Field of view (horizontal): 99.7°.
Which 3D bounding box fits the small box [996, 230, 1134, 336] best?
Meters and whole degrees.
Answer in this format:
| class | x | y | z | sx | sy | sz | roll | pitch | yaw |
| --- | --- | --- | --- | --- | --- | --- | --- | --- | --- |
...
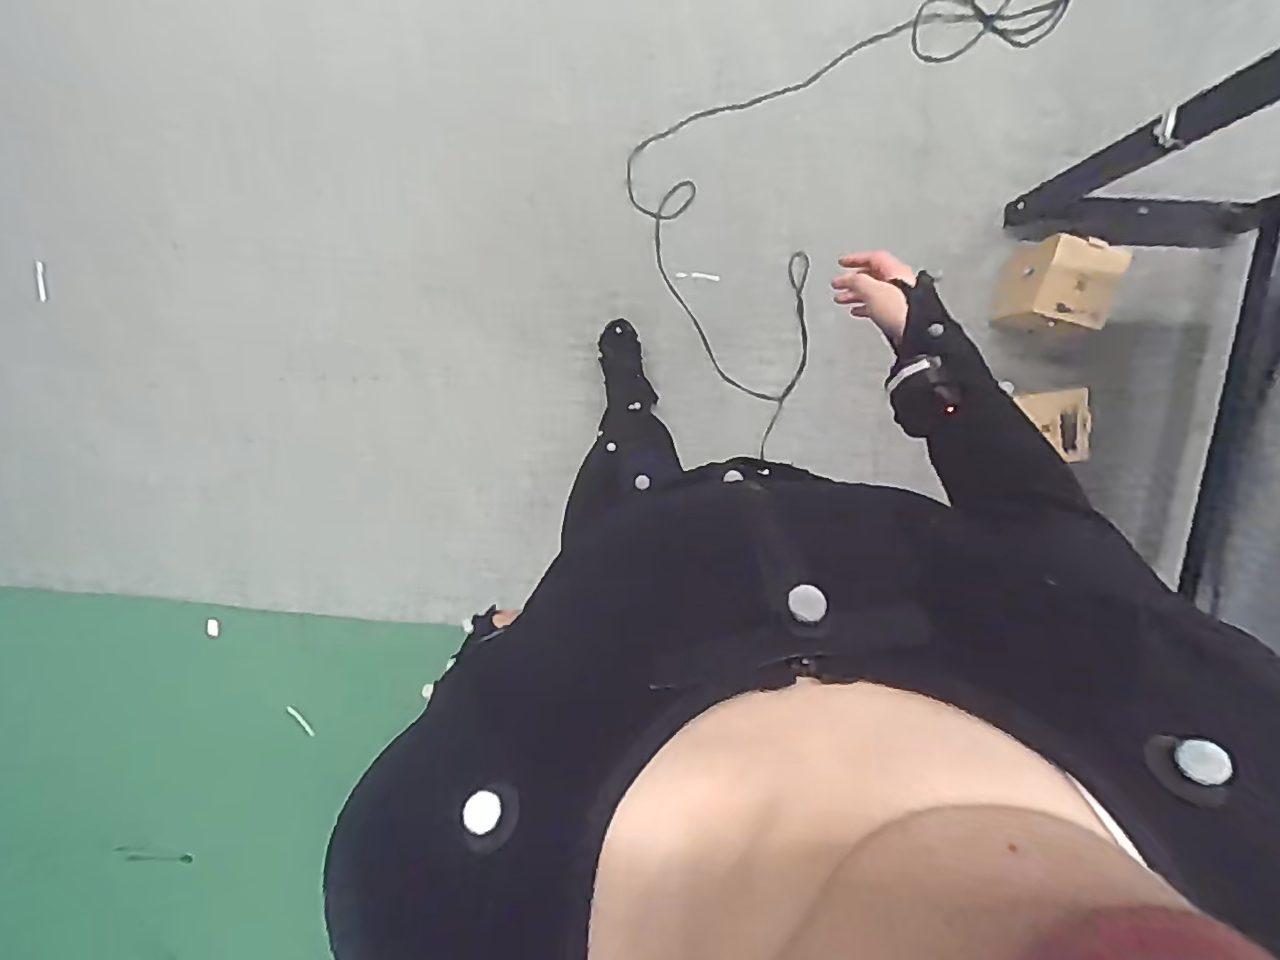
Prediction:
| class | x | y | z | sx | sy | sz | roll | pitch | yaw |
| --- | --- | --- | --- | --- | --- | --- | --- | --- | --- |
| small box | 0.986 | -0.454 | 1.273 | 0.168 | 0.176 | 0.179 | 16 | 98 | 0 |
